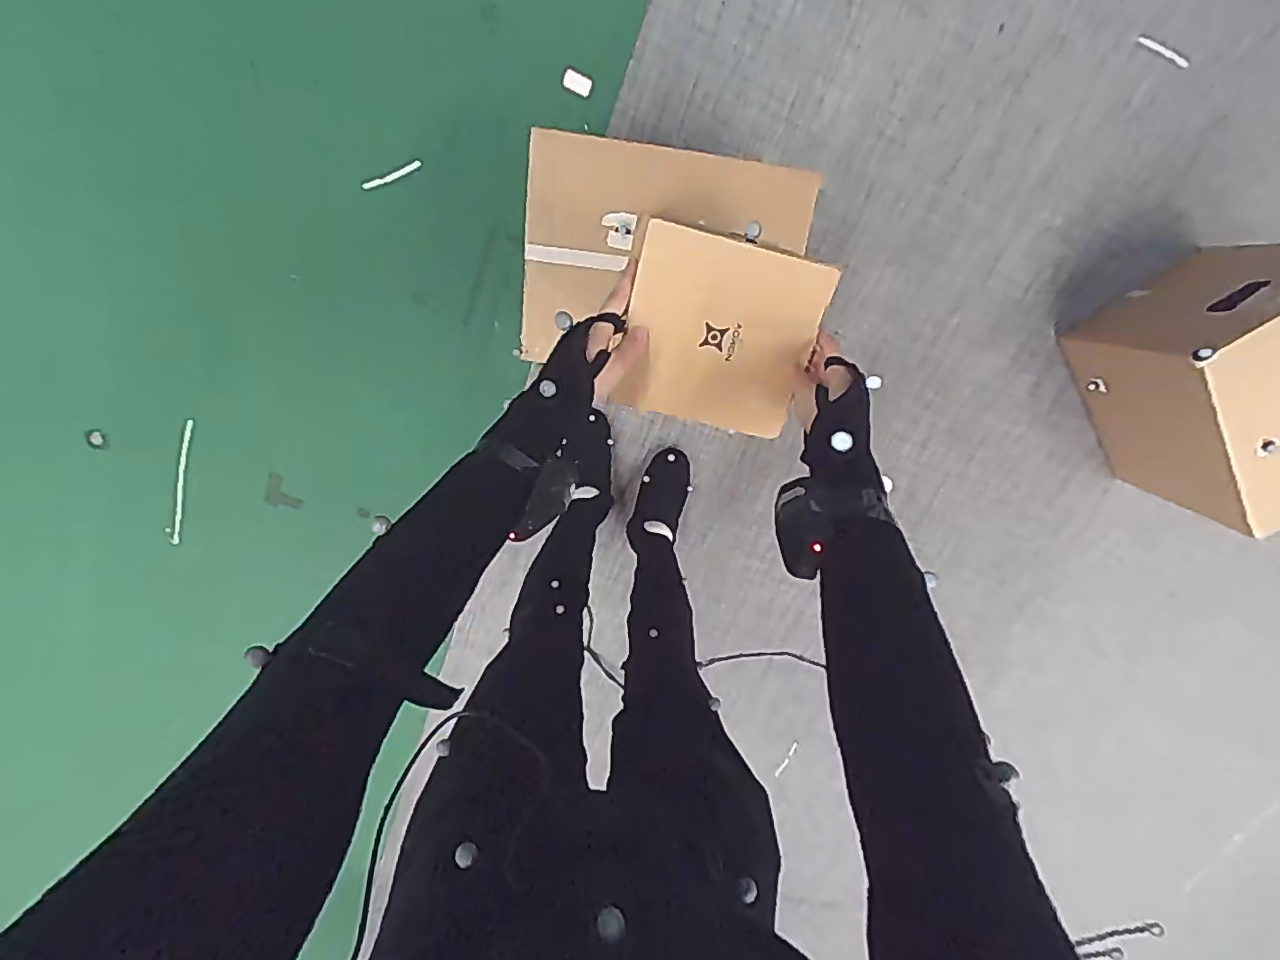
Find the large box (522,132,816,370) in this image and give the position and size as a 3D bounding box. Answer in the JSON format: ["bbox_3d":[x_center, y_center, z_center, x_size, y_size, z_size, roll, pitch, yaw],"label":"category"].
[{"bbox_3d":[0.033,-0.363,0.930,0.408,0.320,0.320,7,110,-3],"label":"large box"}]

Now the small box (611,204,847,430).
[{"bbox_3d":[0.073,-0.172,0.558,0.179,0.176,0.168,12,116,-8],"label":"small box"}]
